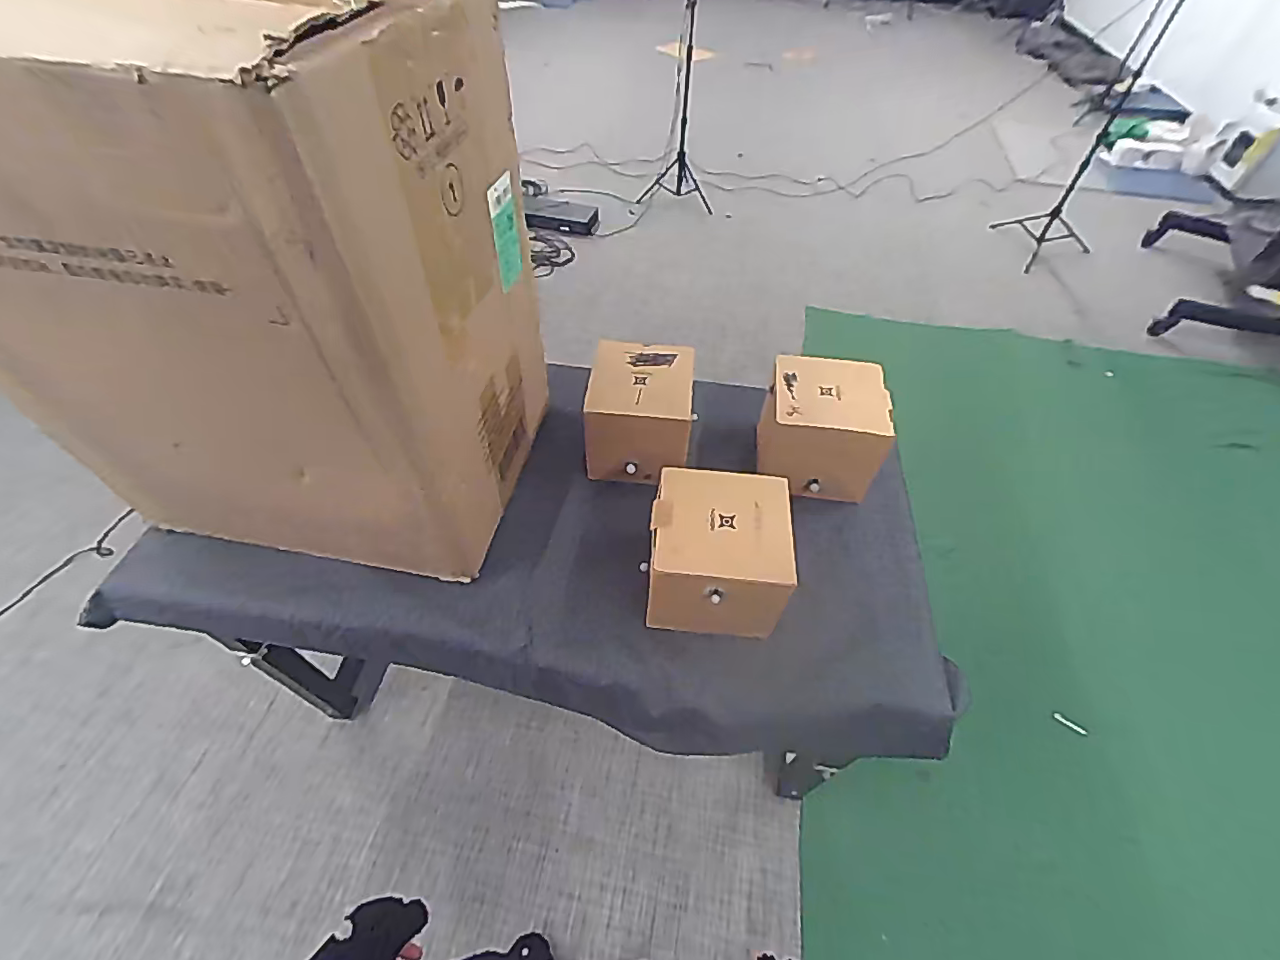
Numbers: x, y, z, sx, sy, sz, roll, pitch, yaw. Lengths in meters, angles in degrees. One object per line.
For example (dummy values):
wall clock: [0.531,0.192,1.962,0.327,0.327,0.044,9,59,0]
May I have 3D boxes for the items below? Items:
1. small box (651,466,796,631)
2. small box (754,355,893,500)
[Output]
small box: [0.109,0.101,0.765,0.179,0.176,0.168,6,52,2]
small box: [0.301,-0.085,0.920,0.179,0.176,0.168,8,50,4]
